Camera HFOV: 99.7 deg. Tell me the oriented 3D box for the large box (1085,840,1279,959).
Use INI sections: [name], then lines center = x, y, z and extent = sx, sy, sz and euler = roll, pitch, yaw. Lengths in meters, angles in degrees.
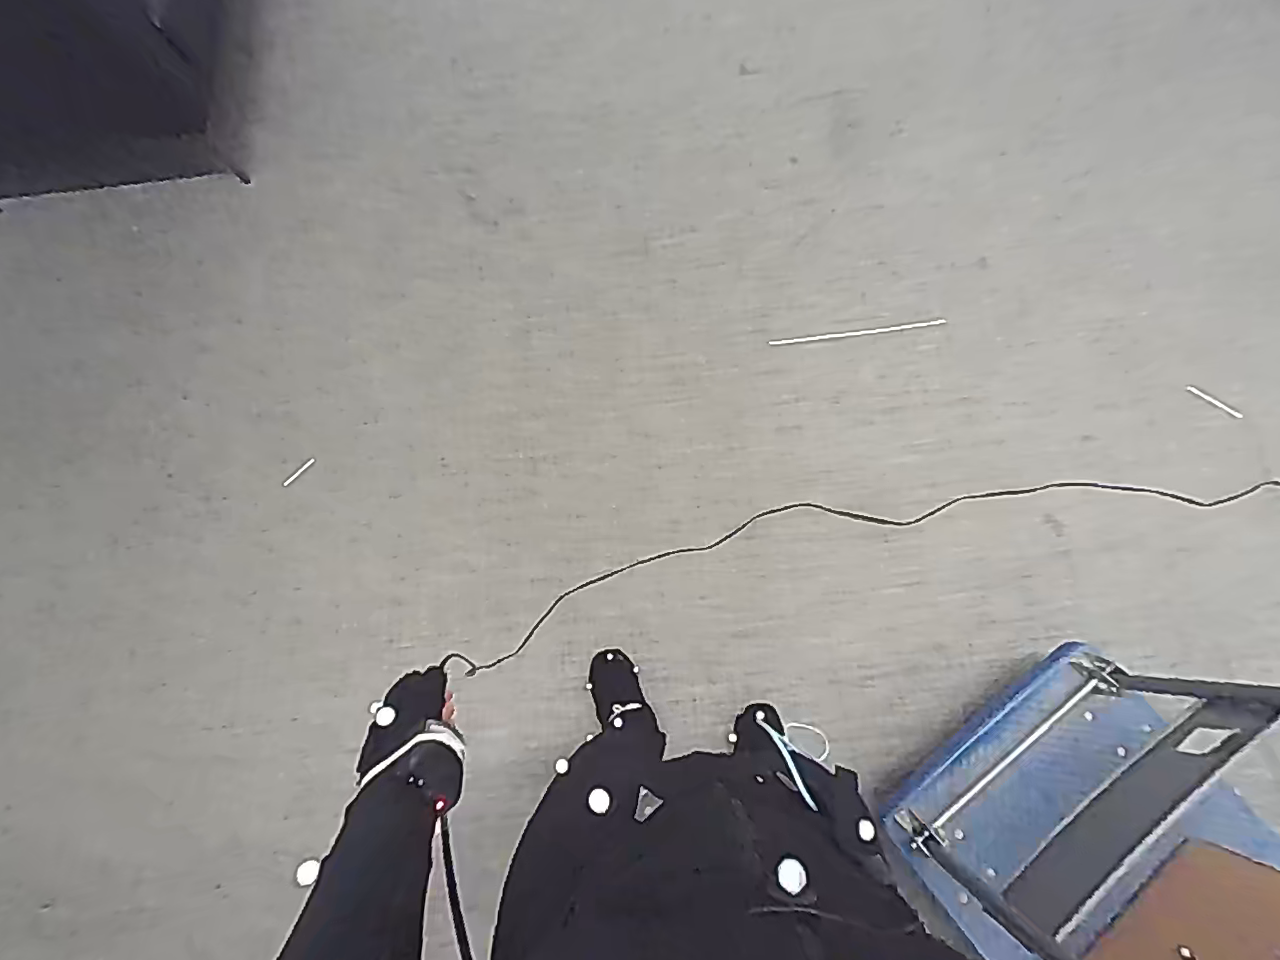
[large box]
center = 0.968, 0.863, 0.808
extent = 0.408, 0.320, 0.320
euler = -40, 77, -9
